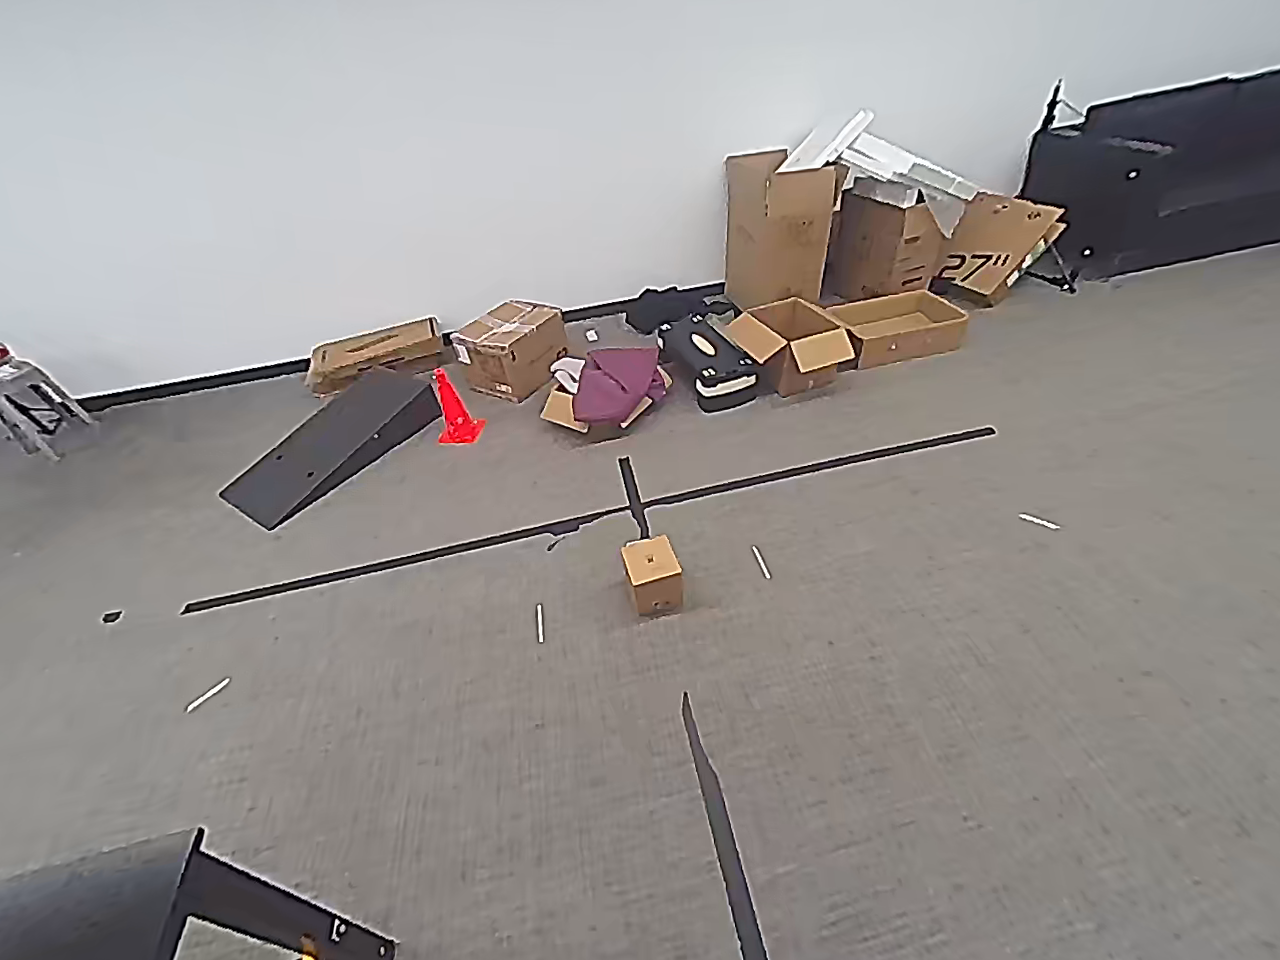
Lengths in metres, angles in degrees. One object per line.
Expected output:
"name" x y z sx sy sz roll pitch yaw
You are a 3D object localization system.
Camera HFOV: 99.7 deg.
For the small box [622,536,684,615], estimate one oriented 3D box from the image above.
"small box" 0.043 0.324 1.830 0.168 0.176 0.179 -16 42 -8
